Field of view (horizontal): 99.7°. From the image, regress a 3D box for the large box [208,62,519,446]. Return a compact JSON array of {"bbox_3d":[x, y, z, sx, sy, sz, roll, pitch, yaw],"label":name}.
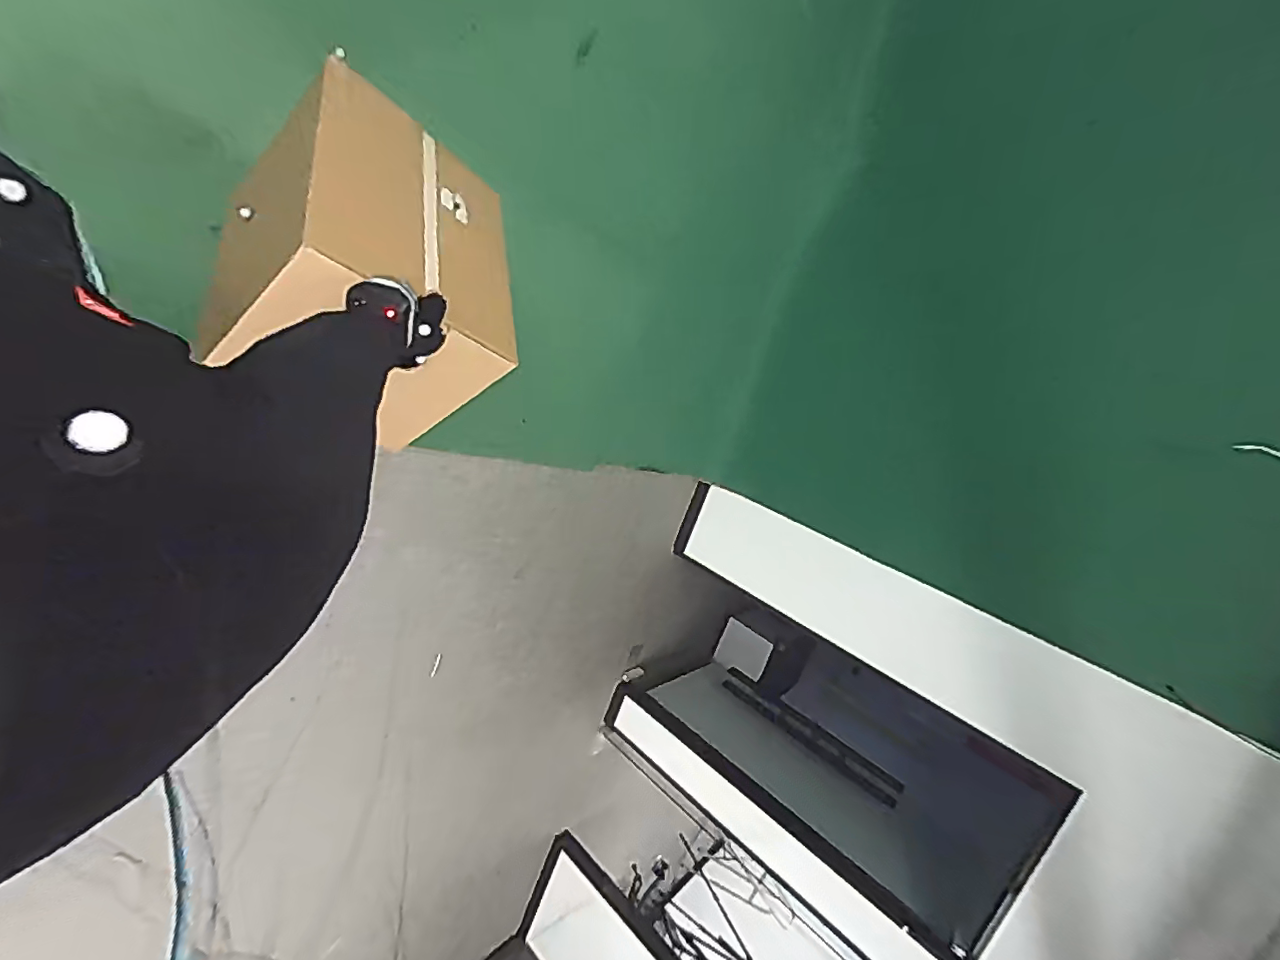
[{"bbox_3d":[-0.432,-0.325,0.870,0.320,0.408,0.320,-27,150,27],"label":"large box"}]
